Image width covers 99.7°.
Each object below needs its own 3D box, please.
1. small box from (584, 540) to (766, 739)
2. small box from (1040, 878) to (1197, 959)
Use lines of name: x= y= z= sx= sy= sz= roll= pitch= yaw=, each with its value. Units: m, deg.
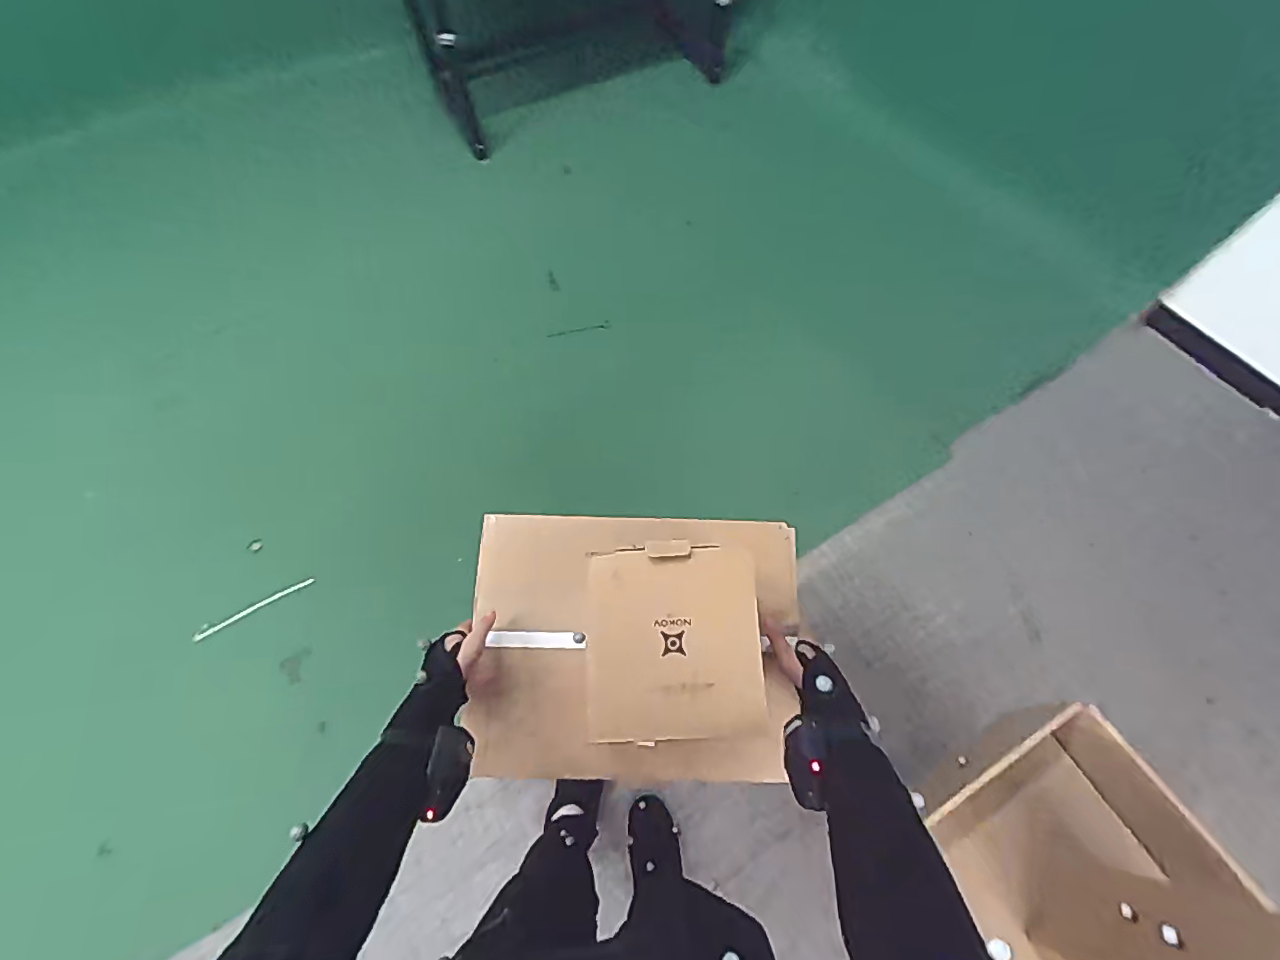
small box: x=0.027 y=0.167 z=0.580 sx=0.168 sy=0.176 sz=0.179 roll=-2 pitch=74 yaw=-2
small box: x=0.690 y=0.670 z=0.712 sx=0.179 sy=0.176 sz=0.168 roll=-29 pitch=66 yaw=-12
